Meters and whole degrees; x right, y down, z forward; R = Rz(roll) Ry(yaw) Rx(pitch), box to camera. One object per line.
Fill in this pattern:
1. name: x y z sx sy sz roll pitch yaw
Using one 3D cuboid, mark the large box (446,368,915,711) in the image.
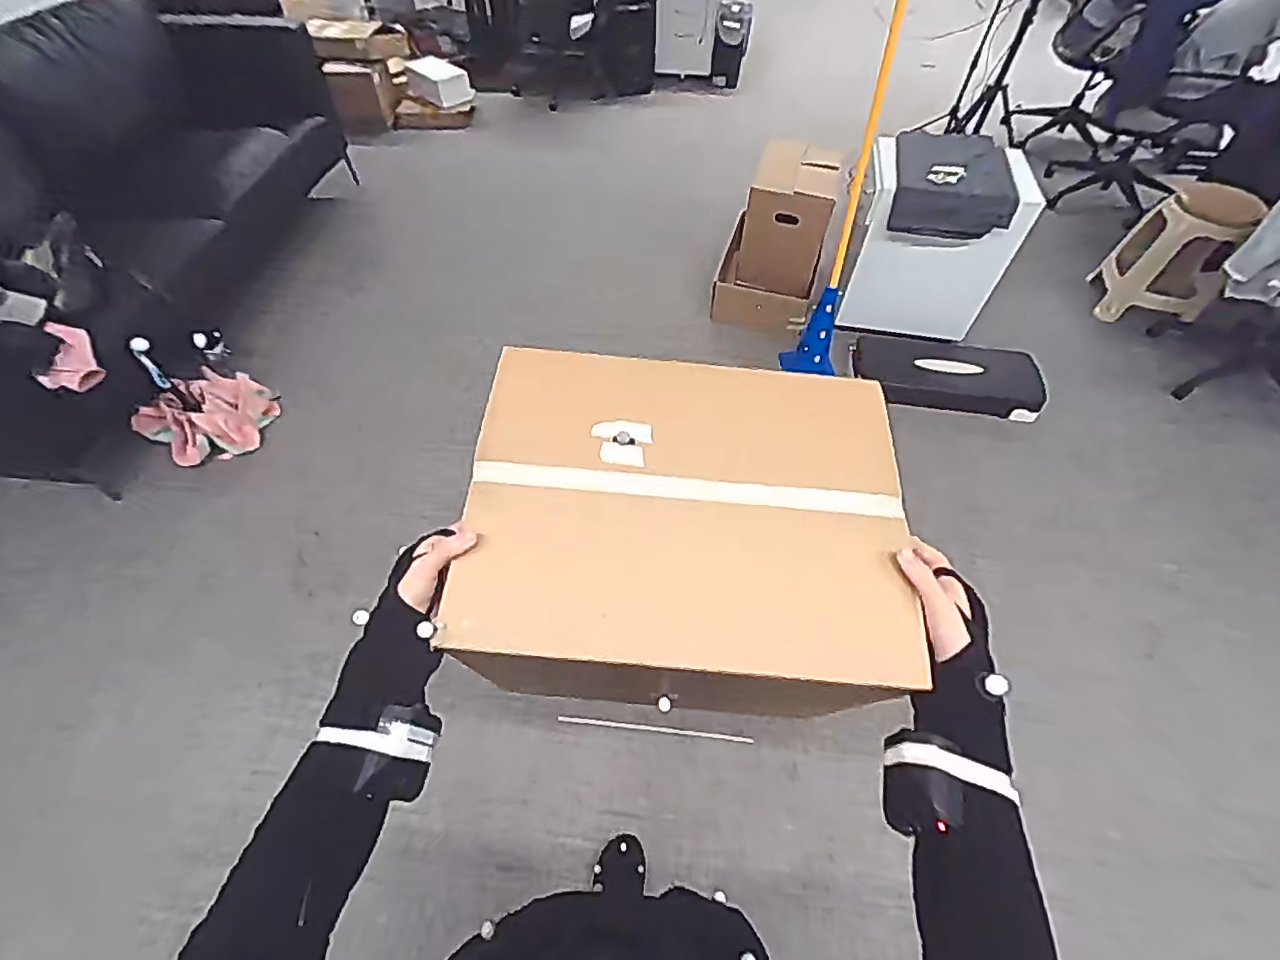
1. large box: 0.040 0.093 0.651 0.408 0.320 0.320 5 62 0
